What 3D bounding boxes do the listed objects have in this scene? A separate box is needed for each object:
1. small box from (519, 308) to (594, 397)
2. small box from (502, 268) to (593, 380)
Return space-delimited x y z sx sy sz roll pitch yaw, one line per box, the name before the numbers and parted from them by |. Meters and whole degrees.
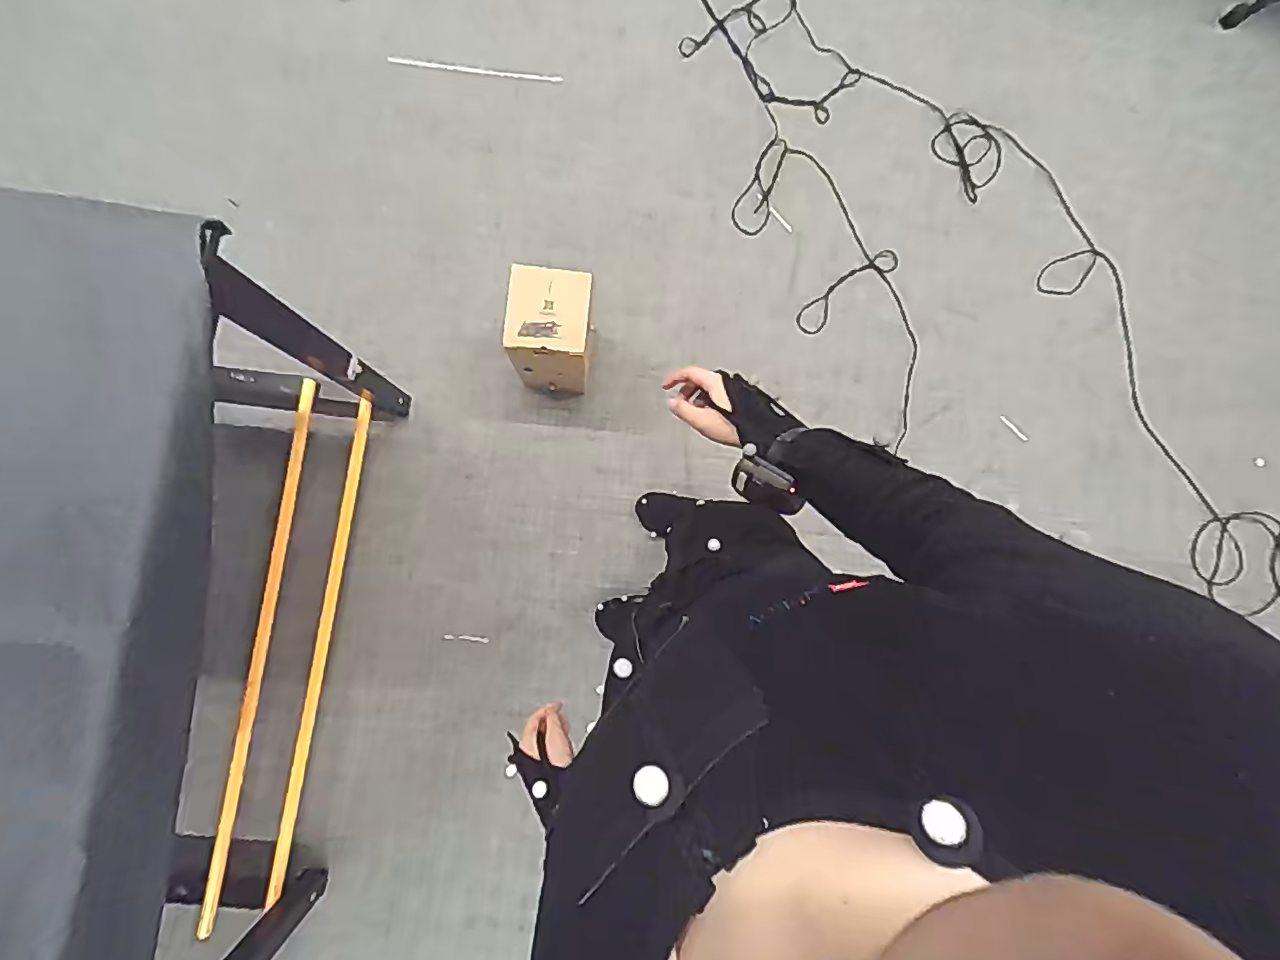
small box | -0.206 -0.319 1.328 0.168 0.176 0.179 7 82 -2
small box | -0.192 -0.327 1.165 0.168 0.176 0.179 5 82 -4
